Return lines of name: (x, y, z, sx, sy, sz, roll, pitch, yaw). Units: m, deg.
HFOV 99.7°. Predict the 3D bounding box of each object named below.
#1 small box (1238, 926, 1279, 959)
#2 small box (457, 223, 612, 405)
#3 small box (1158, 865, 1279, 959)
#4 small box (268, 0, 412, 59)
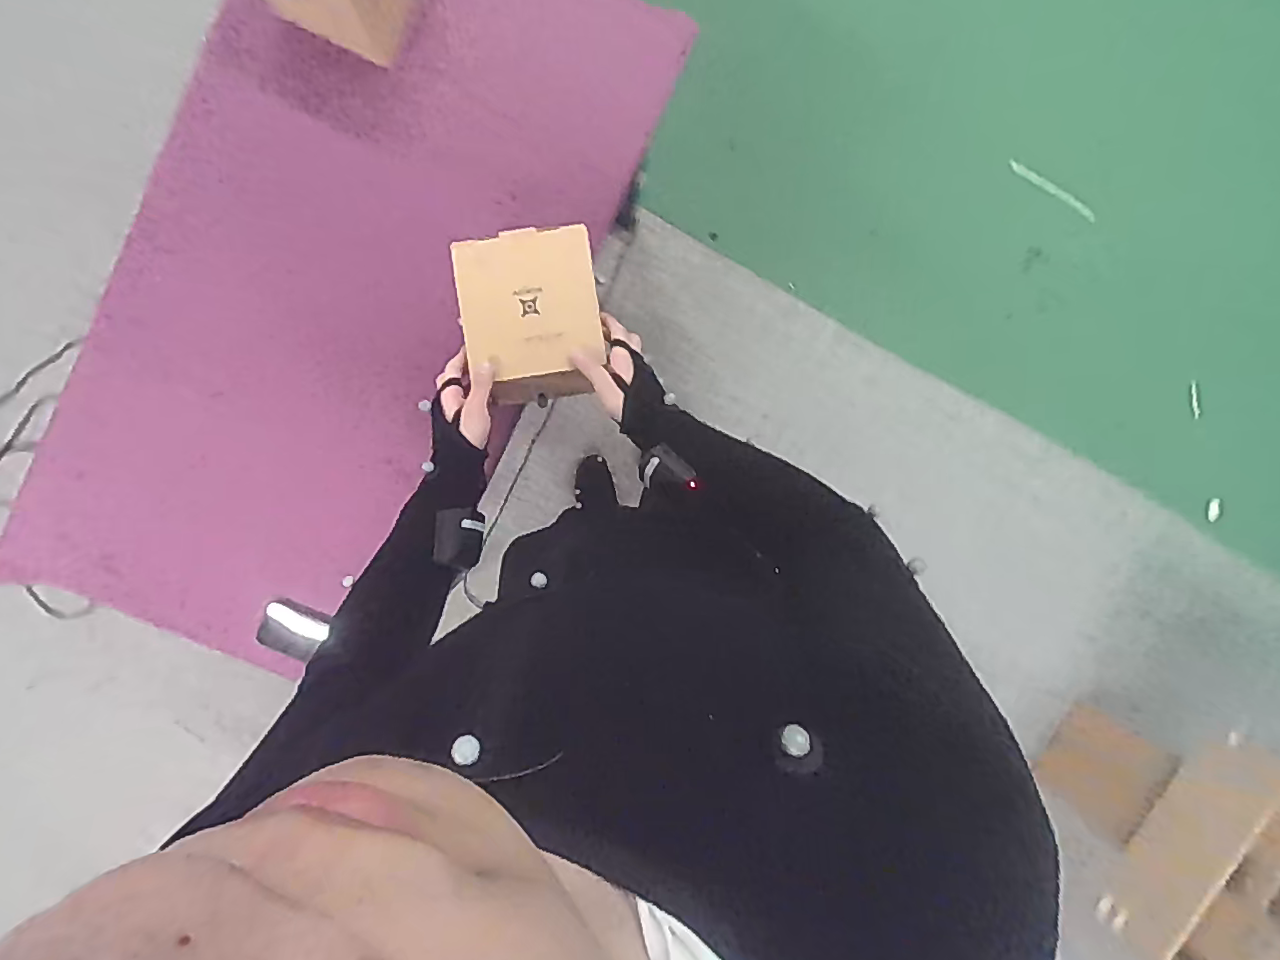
small box: (1.468, 1.128, 1.173, 0.179, 0.176, 0.168, 28, 93, -6)
small box: (-0.129, -0.207, 0.714, 0.168, 0.176, 0.179, -8, 89, -2)
small box: (1.467, 1.109, 1.337, 0.179, 0.176, 0.168, 33, 93, -5)
small box: (-0.420, -0.712, 0.709, 0.179, 0.176, 0.168, 24, 94, -6)
